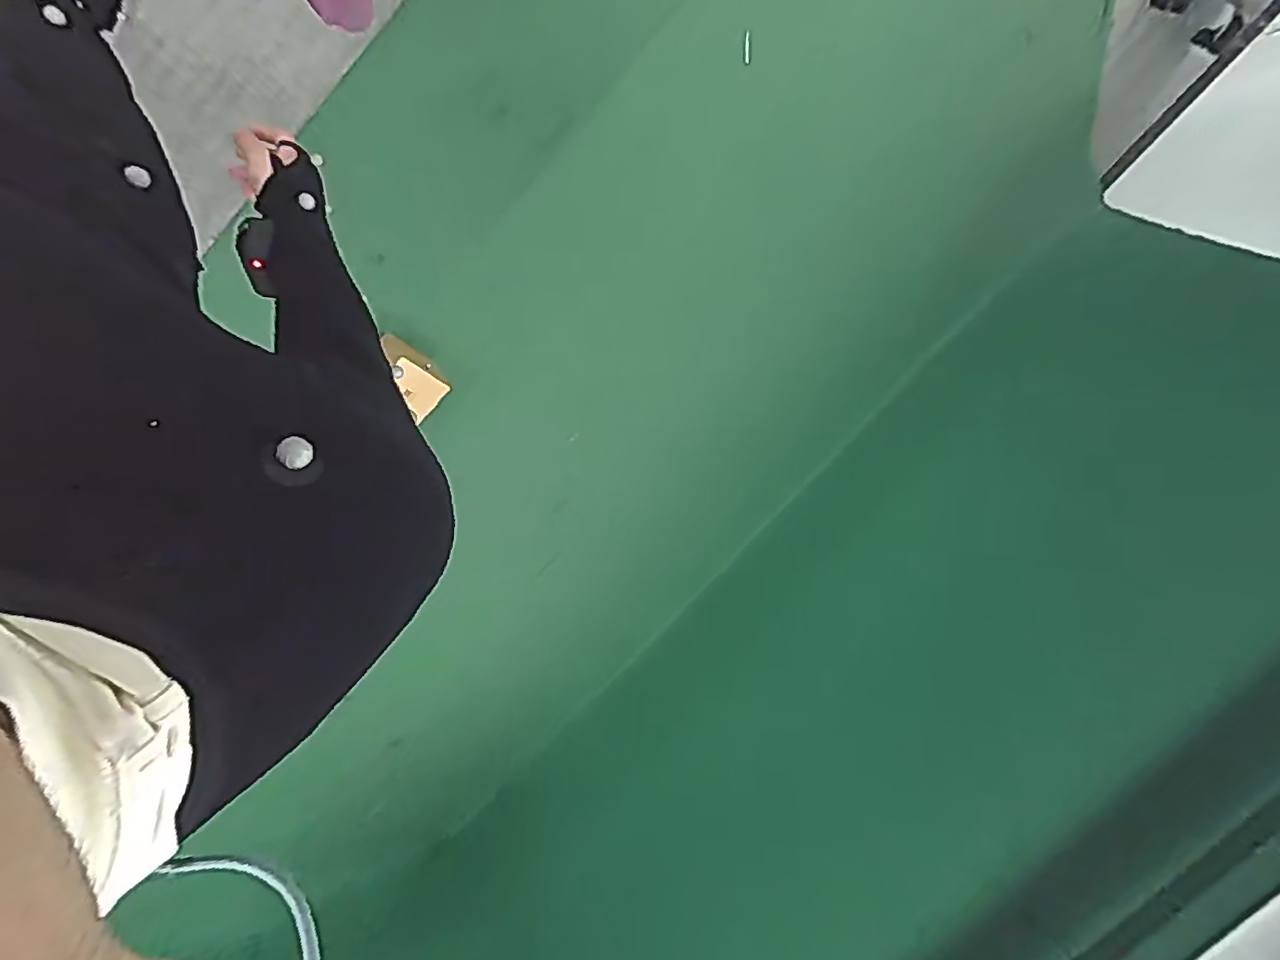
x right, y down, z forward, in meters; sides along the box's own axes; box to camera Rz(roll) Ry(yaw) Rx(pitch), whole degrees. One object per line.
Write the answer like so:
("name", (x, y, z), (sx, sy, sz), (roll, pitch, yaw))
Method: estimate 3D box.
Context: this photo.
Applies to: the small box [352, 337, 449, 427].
("small box", (-0.698, -0.290, 1.568), (0.168, 0.176, 0.179), (-46, 144, 5))
